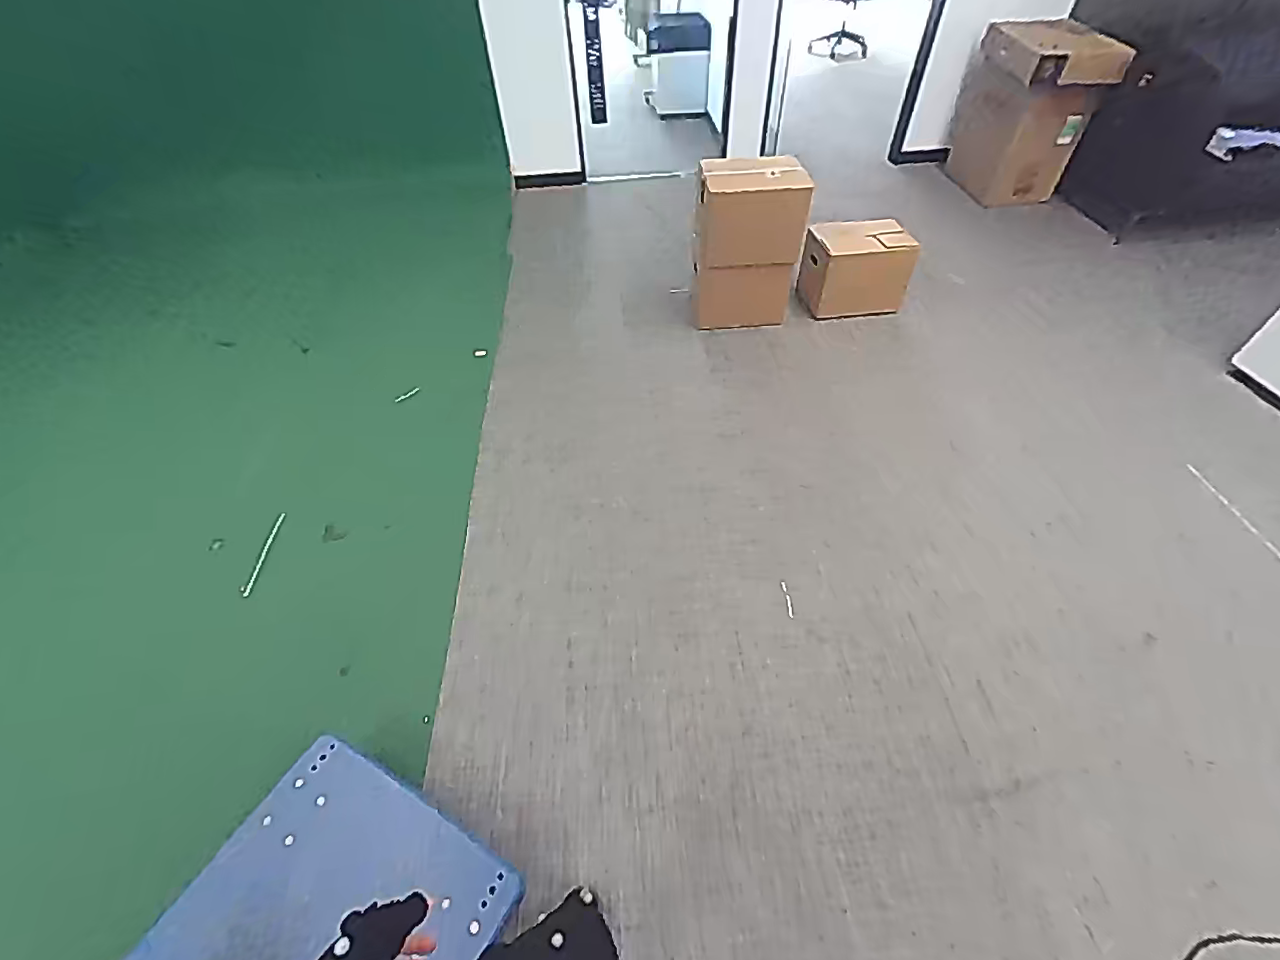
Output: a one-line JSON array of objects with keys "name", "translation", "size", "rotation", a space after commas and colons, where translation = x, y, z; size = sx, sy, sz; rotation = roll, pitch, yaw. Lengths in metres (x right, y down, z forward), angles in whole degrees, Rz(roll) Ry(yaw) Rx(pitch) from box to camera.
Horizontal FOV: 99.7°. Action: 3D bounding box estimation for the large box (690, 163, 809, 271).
[{"name": "large box", "translation": [0.437, -1.100, 2.265], "size": [0.408, 0.320, 0.320], "rotation": [-3, 50, -2]}]
